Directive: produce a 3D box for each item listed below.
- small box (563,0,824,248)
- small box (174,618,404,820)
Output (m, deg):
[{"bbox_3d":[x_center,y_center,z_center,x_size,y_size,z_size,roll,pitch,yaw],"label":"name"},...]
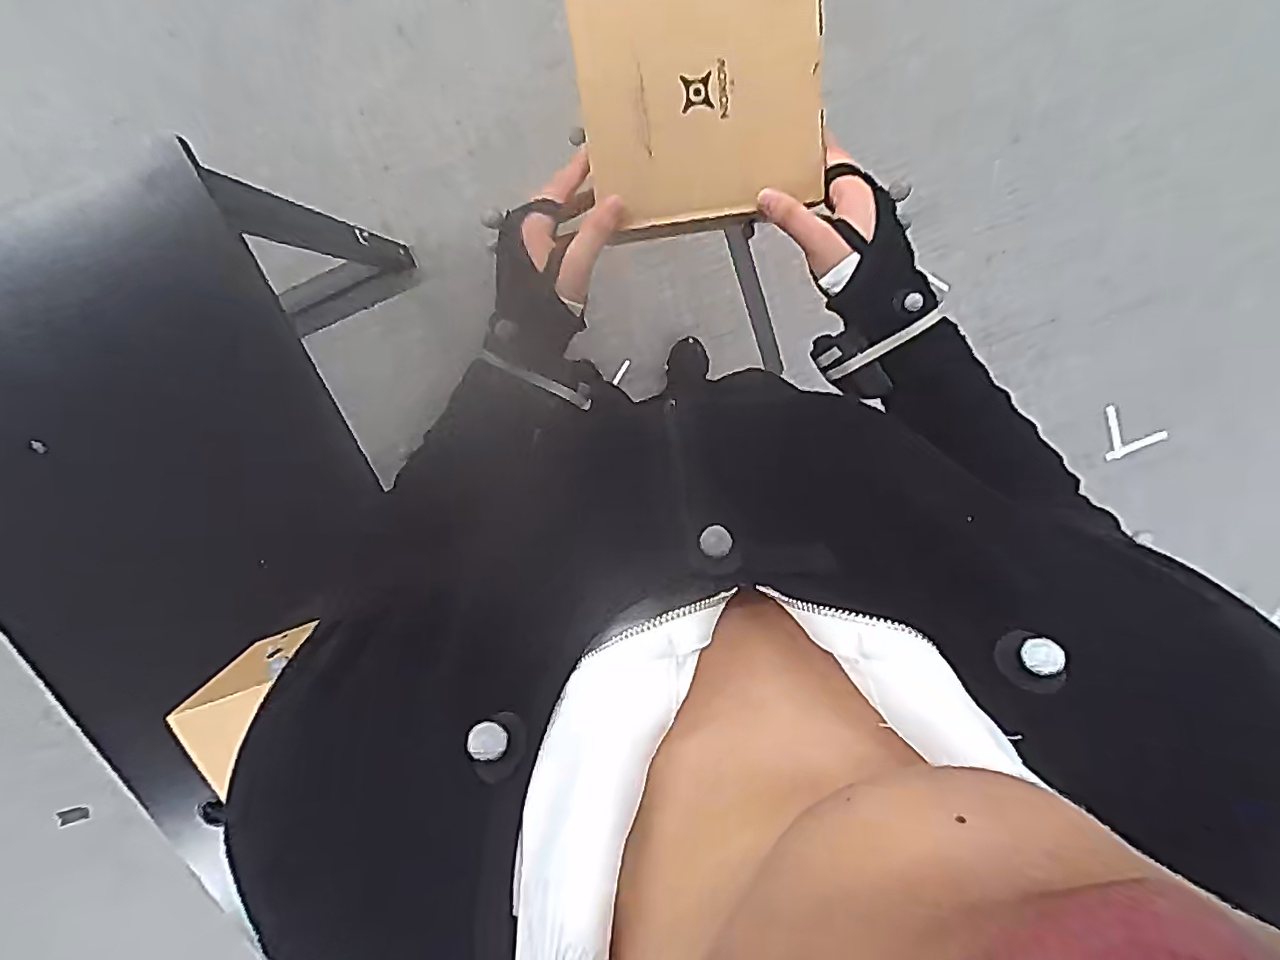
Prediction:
[{"bbox_3d":[0.041,-0.300,0.458,0.179,0.176,0.168,-8,109,2],"label":"small box"},{"bbox_3d":[-0.463,0.313,0.746,0.168,0.176,0.179,-20,105,4],"label":"small box"}]
